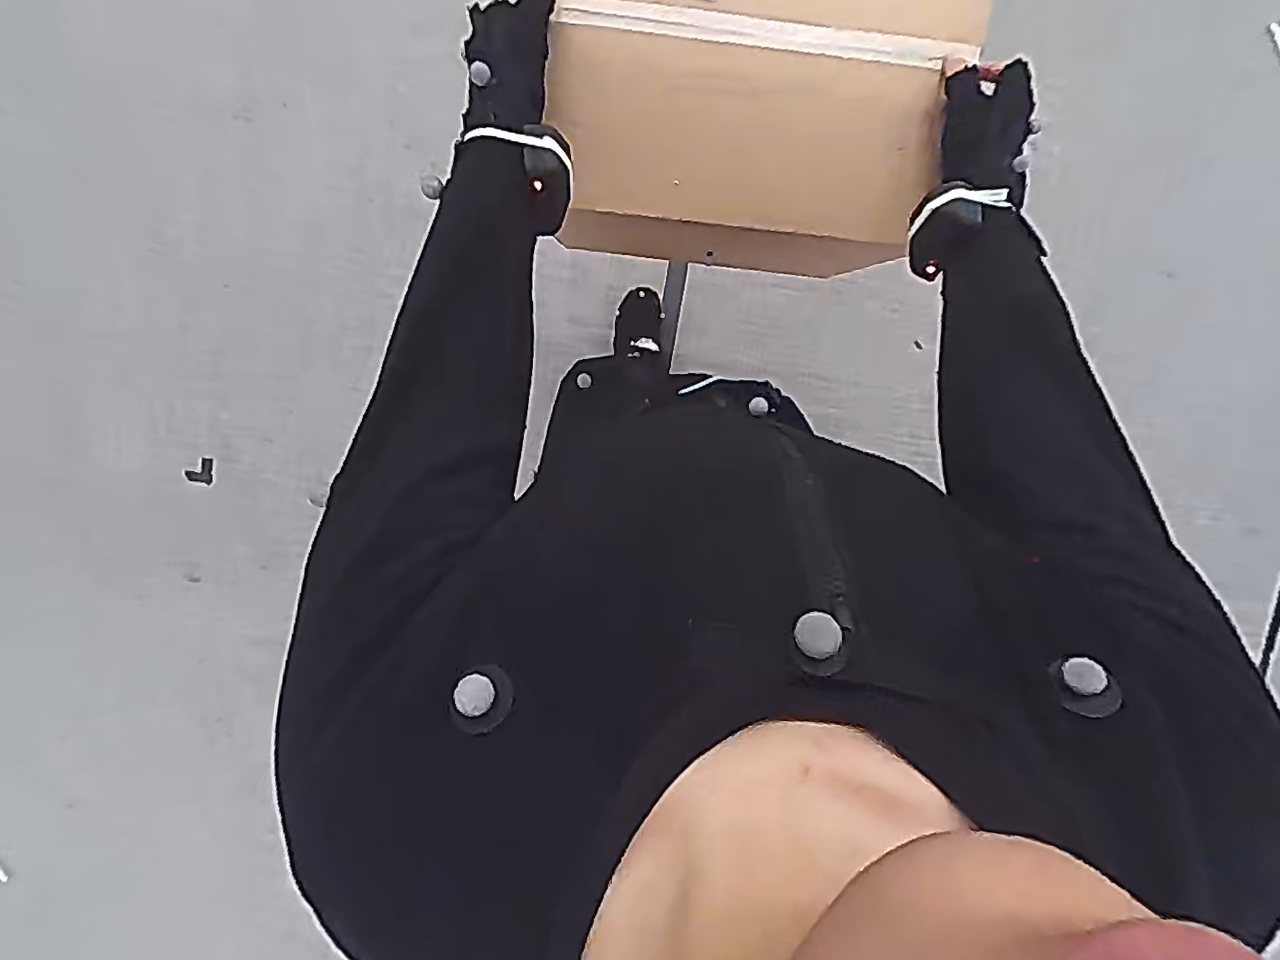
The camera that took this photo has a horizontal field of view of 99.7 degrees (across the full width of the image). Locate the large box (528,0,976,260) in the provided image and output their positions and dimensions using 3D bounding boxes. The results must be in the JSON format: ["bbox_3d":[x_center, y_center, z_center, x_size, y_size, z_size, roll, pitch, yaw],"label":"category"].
[{"bbox_3d":[0.101,-0.452,0.635,0.408,0.320,0.320,6,105,-3],"label":"large box"}]
